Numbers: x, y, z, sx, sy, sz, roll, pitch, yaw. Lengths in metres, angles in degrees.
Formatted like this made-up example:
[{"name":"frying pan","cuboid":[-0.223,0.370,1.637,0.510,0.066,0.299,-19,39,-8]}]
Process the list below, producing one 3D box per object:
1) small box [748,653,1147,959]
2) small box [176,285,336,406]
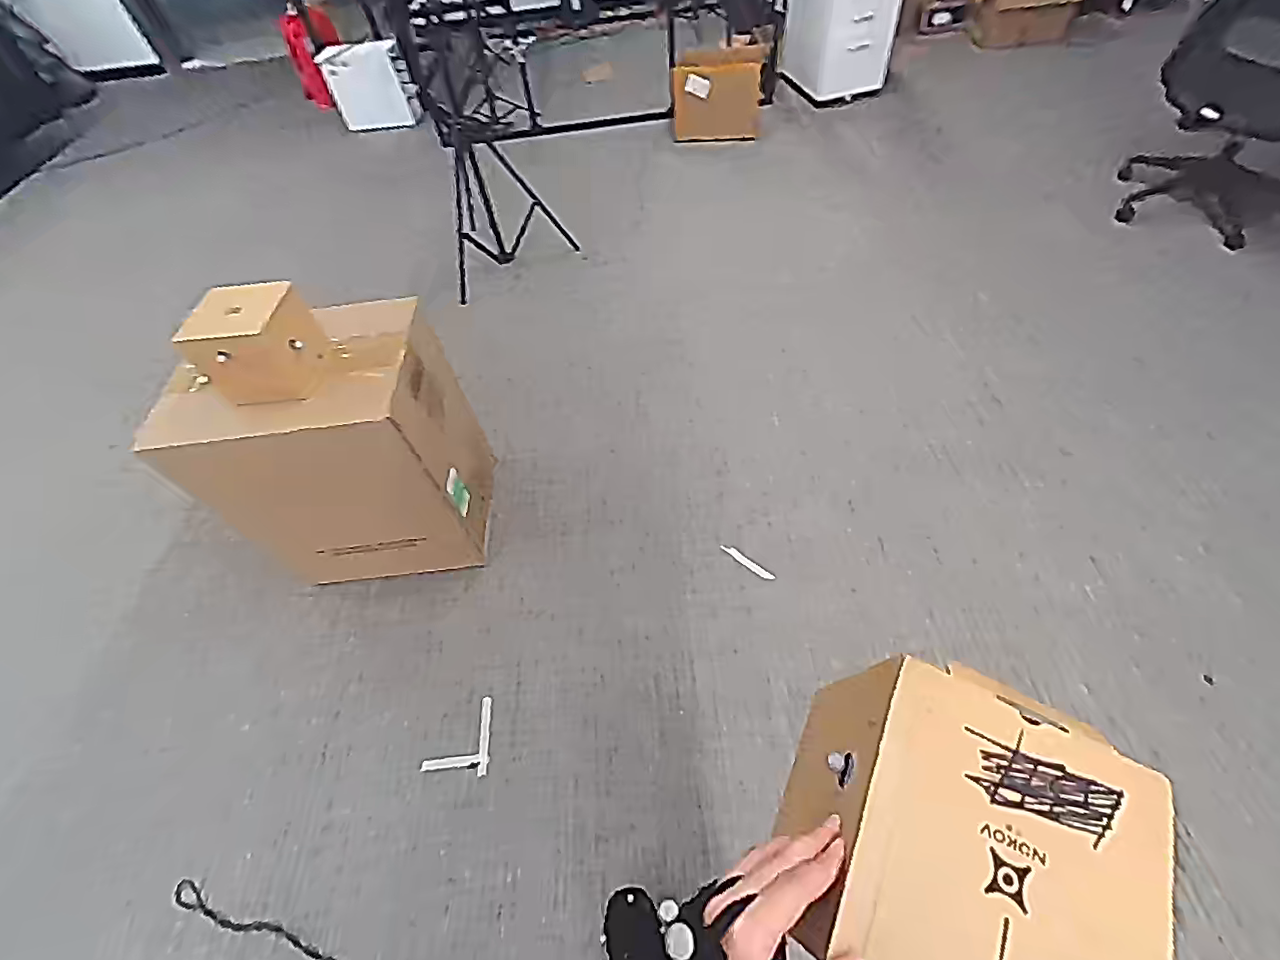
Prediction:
[{"name":"small box","cuboid":[0.190,0.250,0.371,0.168,0.176,0.179,24,62,10]},{"name":"small box","cuboid":[-0.761,-0.268,1.097,0.179,0.176,0.168,-4,54,4]}]
